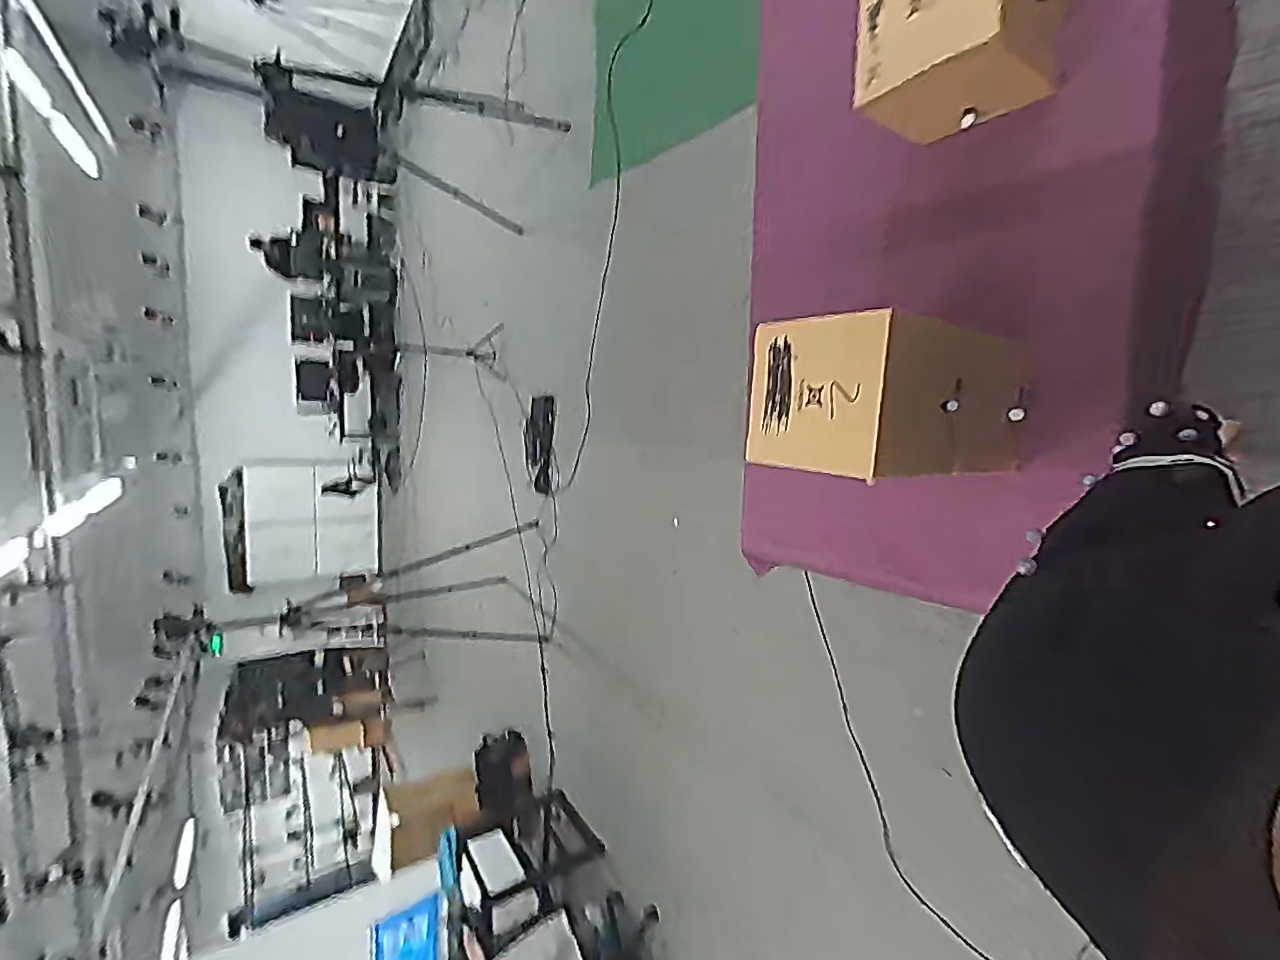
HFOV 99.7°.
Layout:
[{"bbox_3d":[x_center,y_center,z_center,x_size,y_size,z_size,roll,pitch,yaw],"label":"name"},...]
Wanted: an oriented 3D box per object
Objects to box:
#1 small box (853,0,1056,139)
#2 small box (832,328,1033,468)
[{"bbox_3d":[0.399,-0.571,0.684,0.179,0.176,0.168,11,101,54],"label":"small box"},{"bbox_3d":[0.392,-0.108,0.735,0.179,0.176,0.168,13,103,54],"label":"small box"}]
